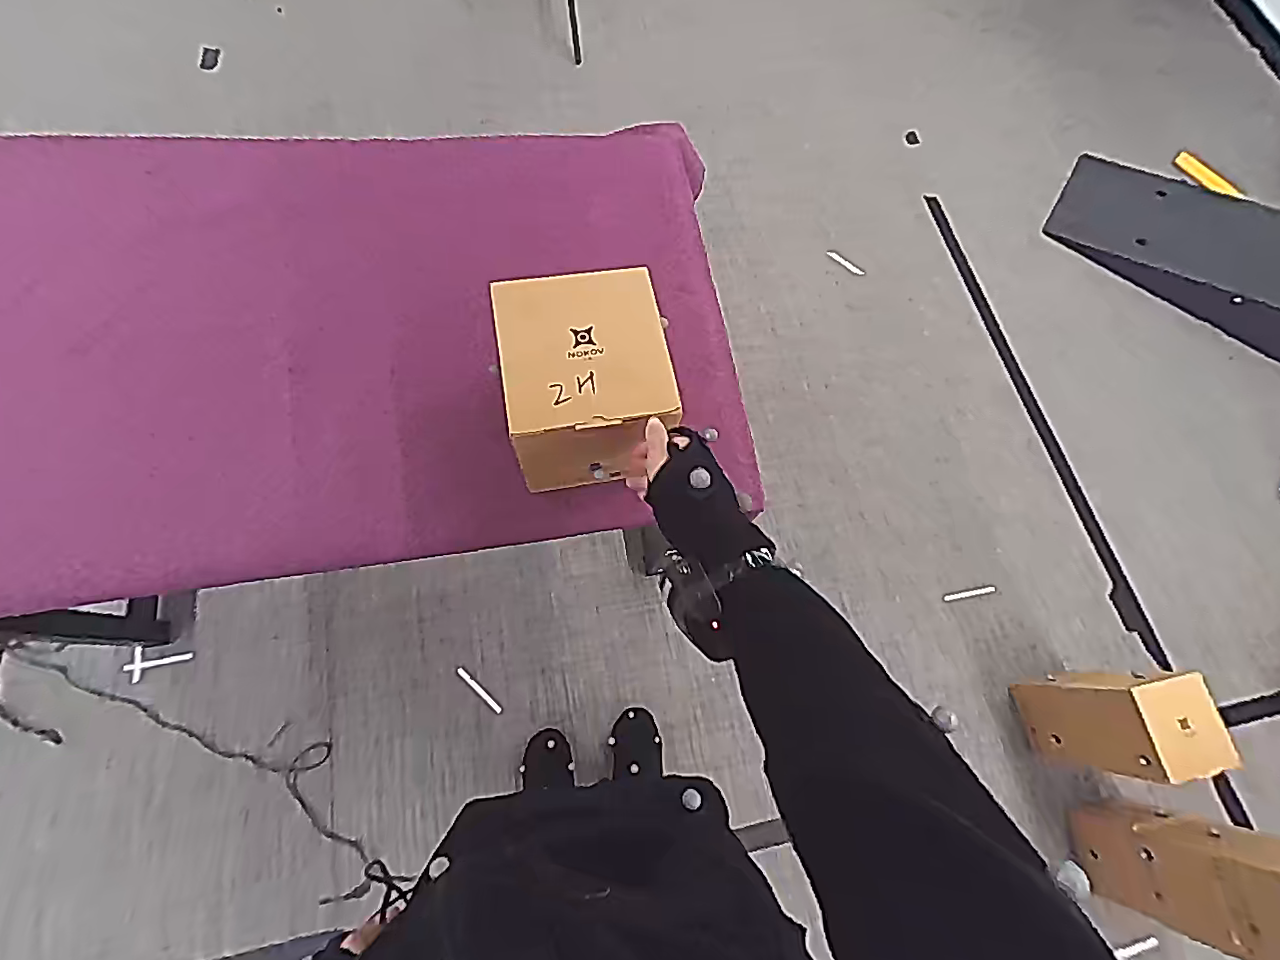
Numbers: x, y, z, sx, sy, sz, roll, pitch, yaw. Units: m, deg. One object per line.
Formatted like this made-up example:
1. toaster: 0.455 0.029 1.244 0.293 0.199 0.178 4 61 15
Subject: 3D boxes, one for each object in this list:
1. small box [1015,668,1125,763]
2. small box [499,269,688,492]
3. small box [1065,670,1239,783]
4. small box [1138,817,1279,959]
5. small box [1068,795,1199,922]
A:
1. small box: 1.030 0.546 1.271 0.179 0.176 0.168 -10 73 -10
2. small box: -0.056 -0.103 0.604 0.168 0.176 0.179 -9 72 -8
3. small box: 1.039 0.497 1.117 0.168 0.176 0.179 -9 73 -9
4. small box: 1.110 0.765 1.027 0.179 0.176 0.168 -5 72 -9
5. small box: 1.099 0.816 1.184 0.168 0.176 0.179 -4 72 -7
